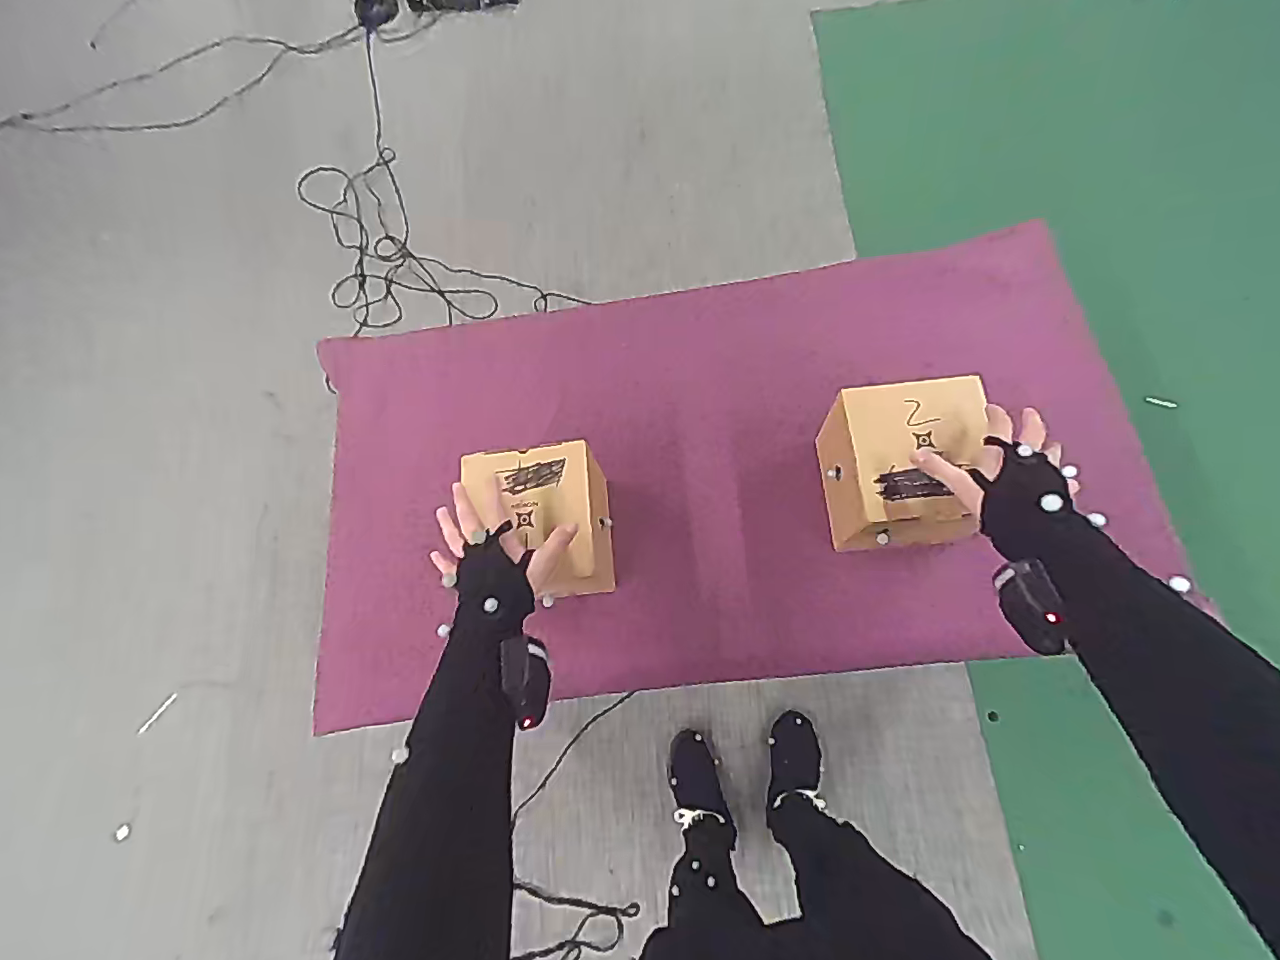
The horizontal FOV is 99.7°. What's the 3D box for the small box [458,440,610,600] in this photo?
[{"bbox_3d":[-0.138,0.063,0.745,0.168,0.176,0.179,-7,73,4],"label":"small box"}]
